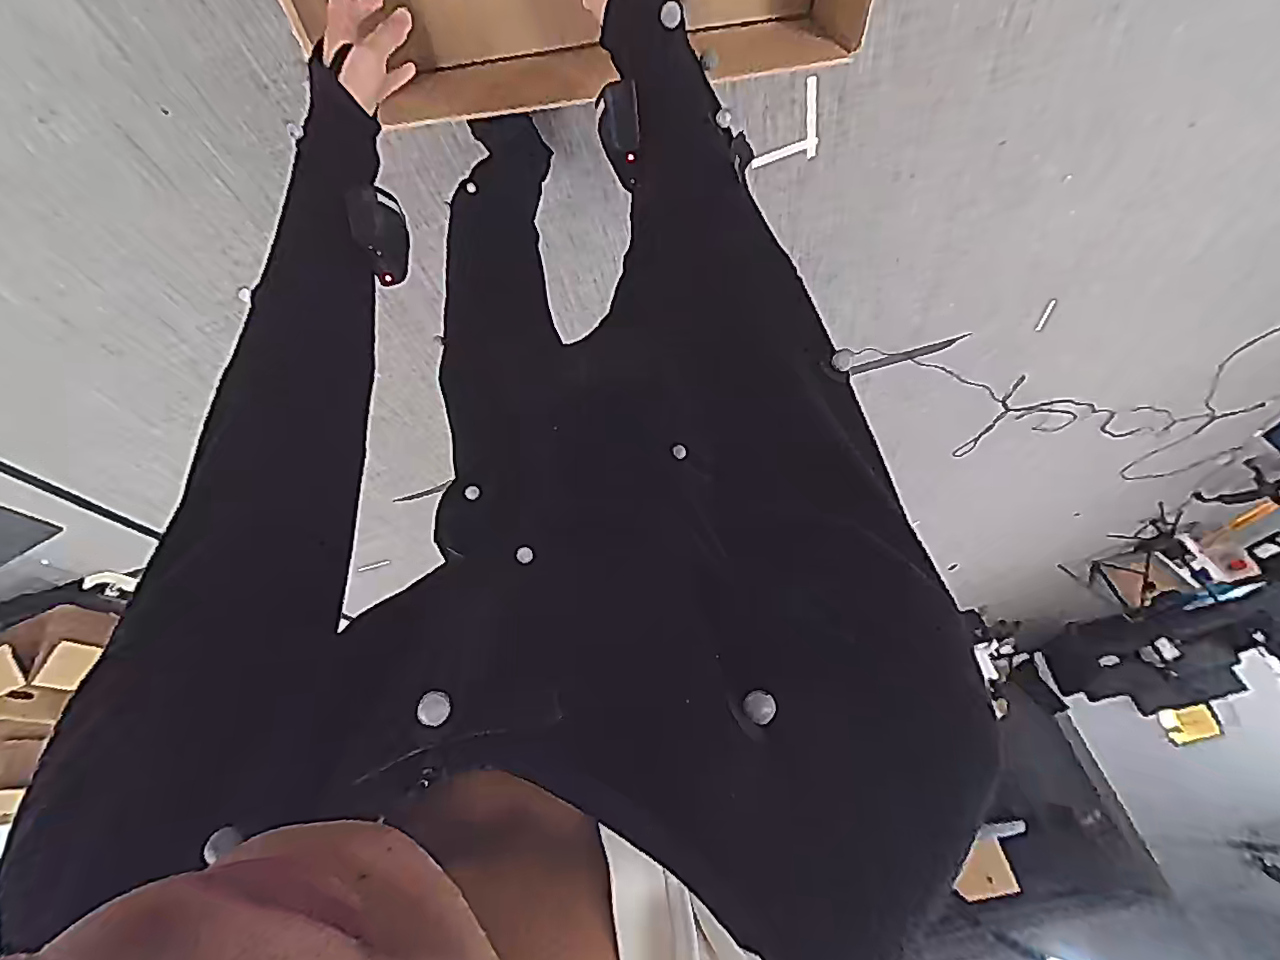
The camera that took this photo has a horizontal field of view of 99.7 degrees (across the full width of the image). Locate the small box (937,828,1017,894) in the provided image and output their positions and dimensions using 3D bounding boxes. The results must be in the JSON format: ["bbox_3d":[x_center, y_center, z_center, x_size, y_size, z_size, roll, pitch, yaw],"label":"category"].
[{"bbox_3d":[1.232,1.393,1.991,0.179,0.176,0.168,-17,148,8],"label":"small box"}]
